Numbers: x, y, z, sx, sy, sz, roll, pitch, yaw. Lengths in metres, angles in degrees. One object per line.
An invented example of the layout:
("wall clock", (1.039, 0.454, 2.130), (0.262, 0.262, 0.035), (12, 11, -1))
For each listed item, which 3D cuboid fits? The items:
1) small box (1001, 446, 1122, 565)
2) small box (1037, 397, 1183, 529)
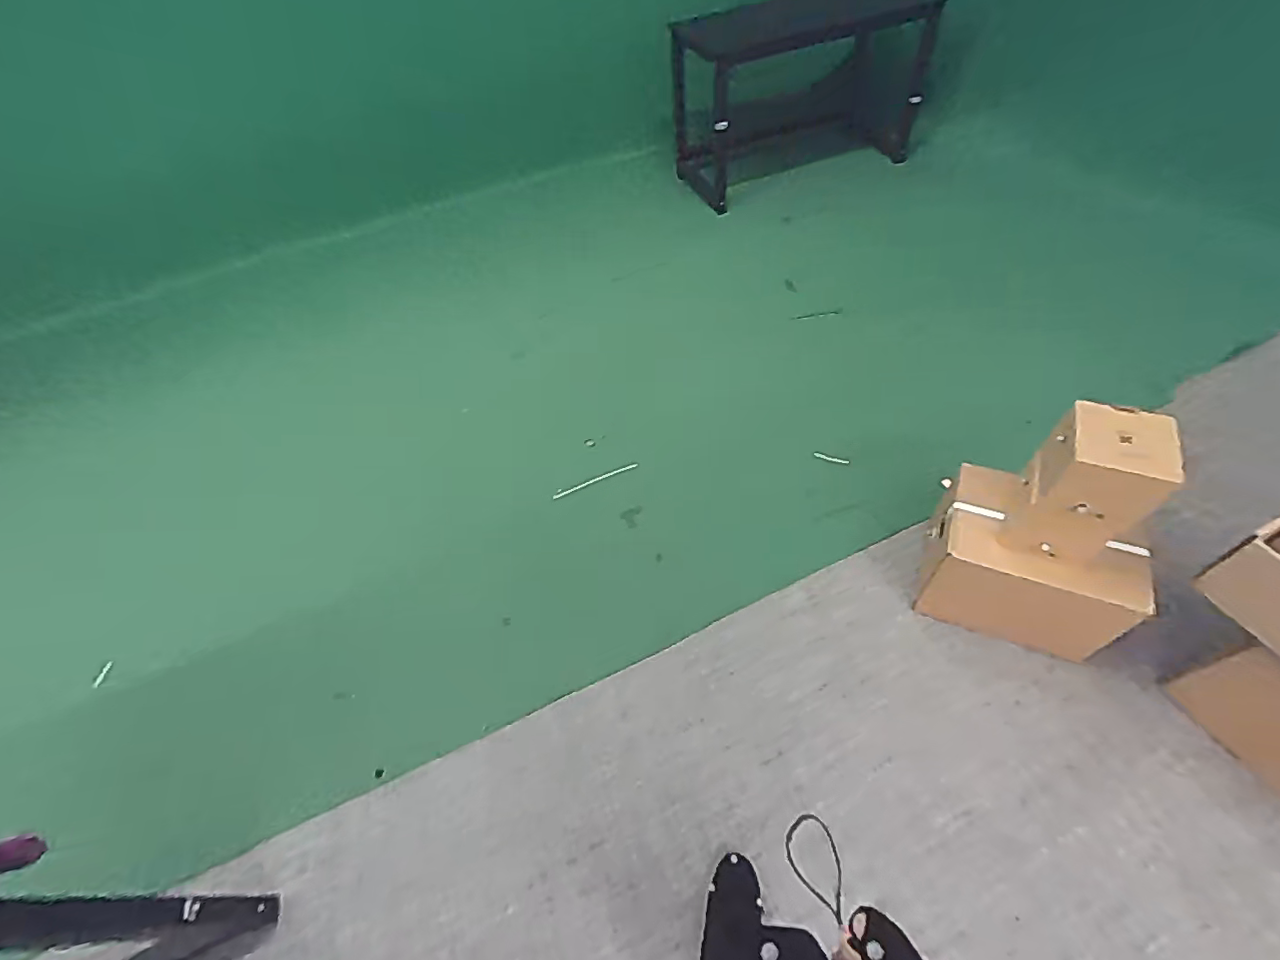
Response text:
("small box", (0.947, 0.060, 1.220), (0.168, 0.176, 0.179), (20, 58, 22))
("small box", (0.931, -0.034, 1.087), (0.168, 0.176, 0.179), (17, 57, 21))
